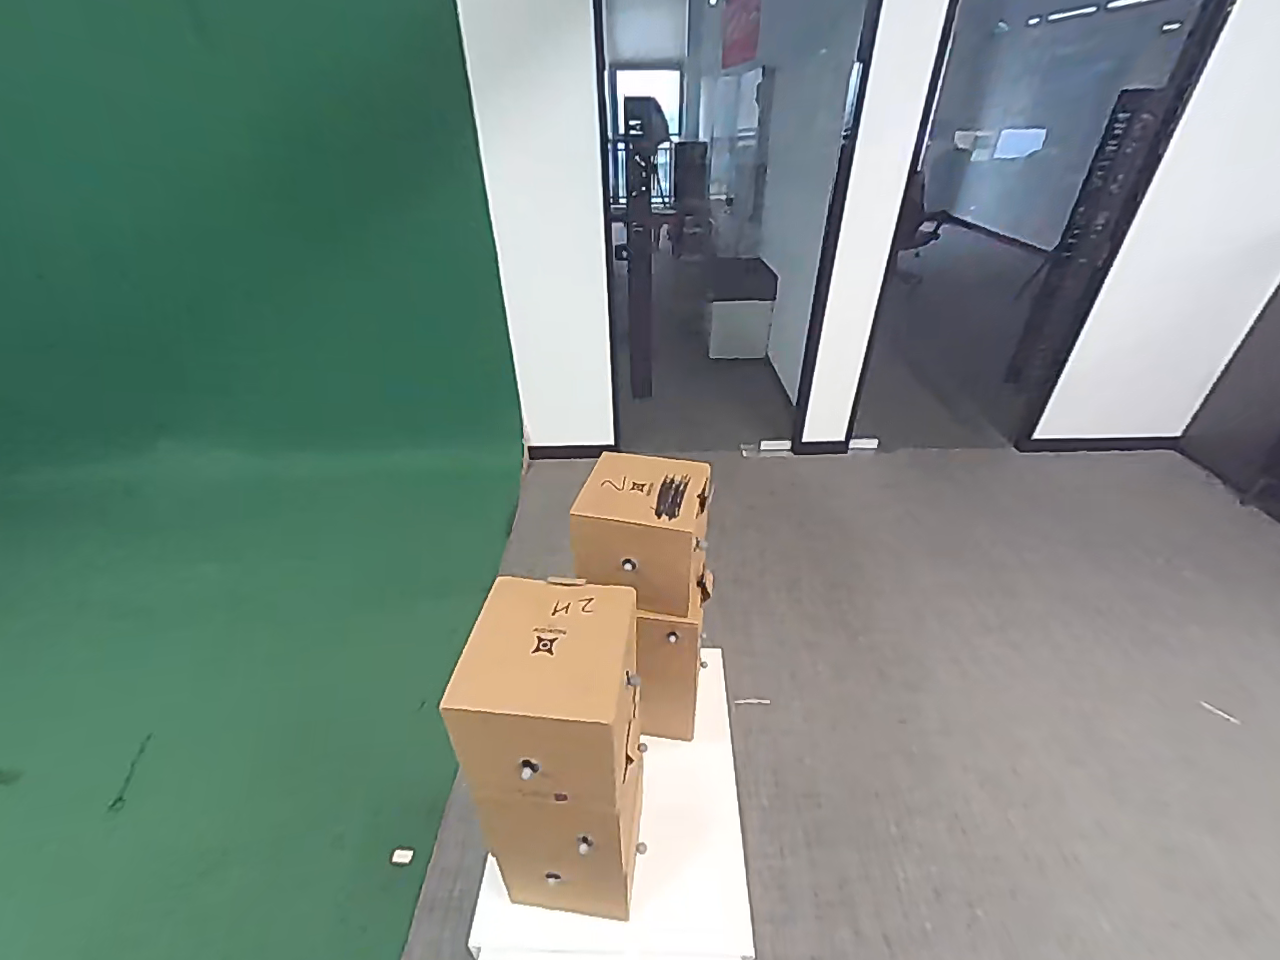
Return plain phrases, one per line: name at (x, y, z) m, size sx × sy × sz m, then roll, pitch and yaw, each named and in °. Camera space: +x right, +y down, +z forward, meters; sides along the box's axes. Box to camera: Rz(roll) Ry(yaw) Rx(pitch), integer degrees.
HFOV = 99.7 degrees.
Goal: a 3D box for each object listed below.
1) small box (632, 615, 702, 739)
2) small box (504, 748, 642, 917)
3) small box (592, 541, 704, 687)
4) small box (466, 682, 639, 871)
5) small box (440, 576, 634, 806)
small box at (0.020, 0.357, 1.008) m, size 0.179 × 0.176 × 0.168 m, roll 4°, pitch 36°, yaw 8°
small box at (-0.094, 0.505, 0.794) m, size 0.179 × 0.176 × 0.168 m, roll 5°, pitch 34°, yaw 6°
small box at (0.013, 0.225, 0.912) m, size 0.179 × 0.176 × 0.168 m, roll 5°, pitch 35°, yaw 7°
small box at (-0.097, 0.373, 0.700) m, size 0.179 × 0.176 × 0.168 m, roll 3°, pitch 33°, yaw 6°
small box at (-0.098, 0.235, 0.610) m, size 0.168 × 0.176 × 0.179 m, roll 5°, pitch 33°, yaw 5°
